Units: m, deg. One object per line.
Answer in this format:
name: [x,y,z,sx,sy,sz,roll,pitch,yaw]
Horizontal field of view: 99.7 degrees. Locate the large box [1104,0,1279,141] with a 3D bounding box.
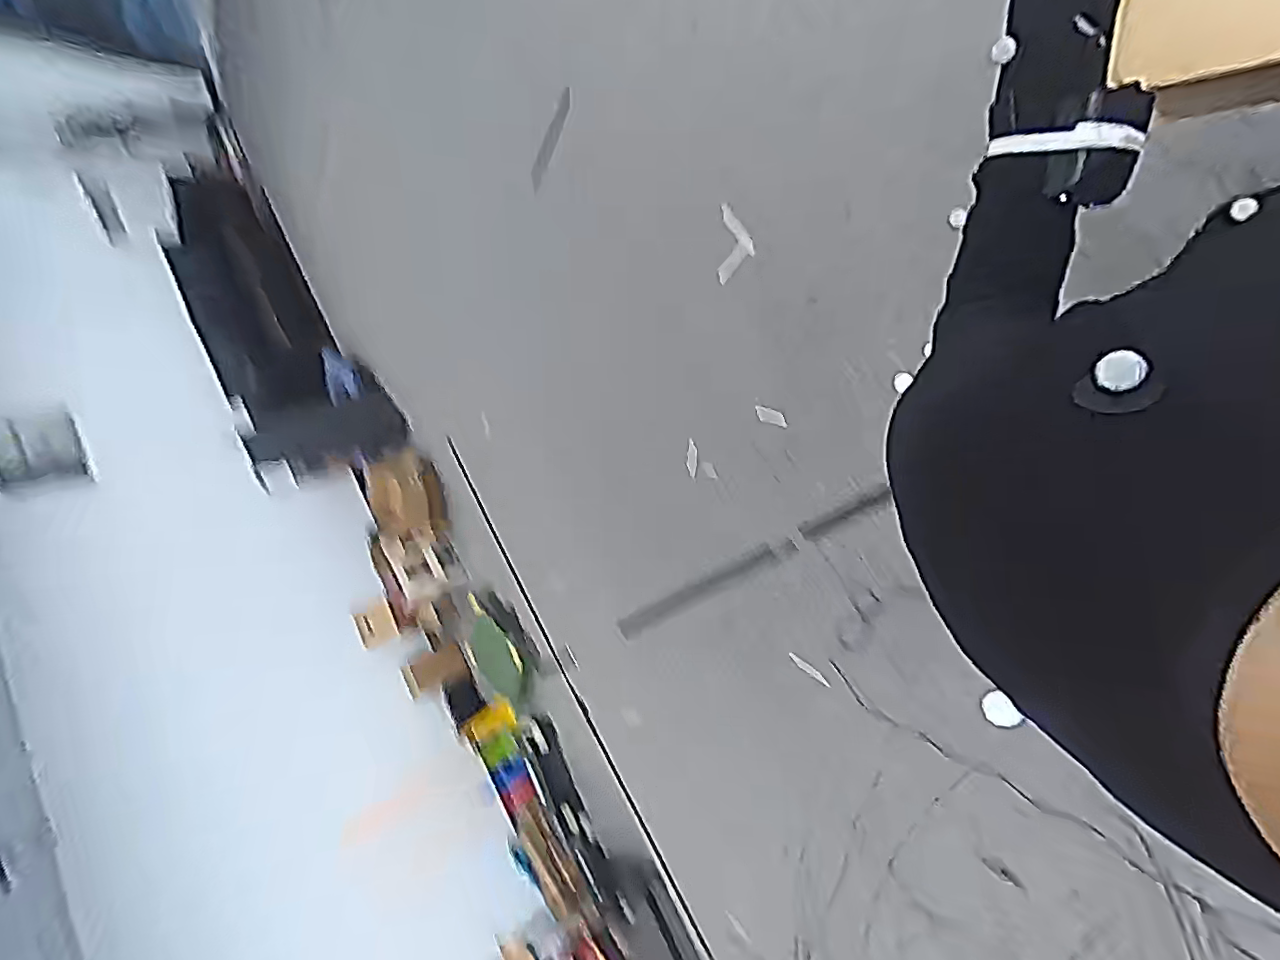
large box: [0.540,-0.409,0.280,0.408,0.320,0.320,13,121,44]
